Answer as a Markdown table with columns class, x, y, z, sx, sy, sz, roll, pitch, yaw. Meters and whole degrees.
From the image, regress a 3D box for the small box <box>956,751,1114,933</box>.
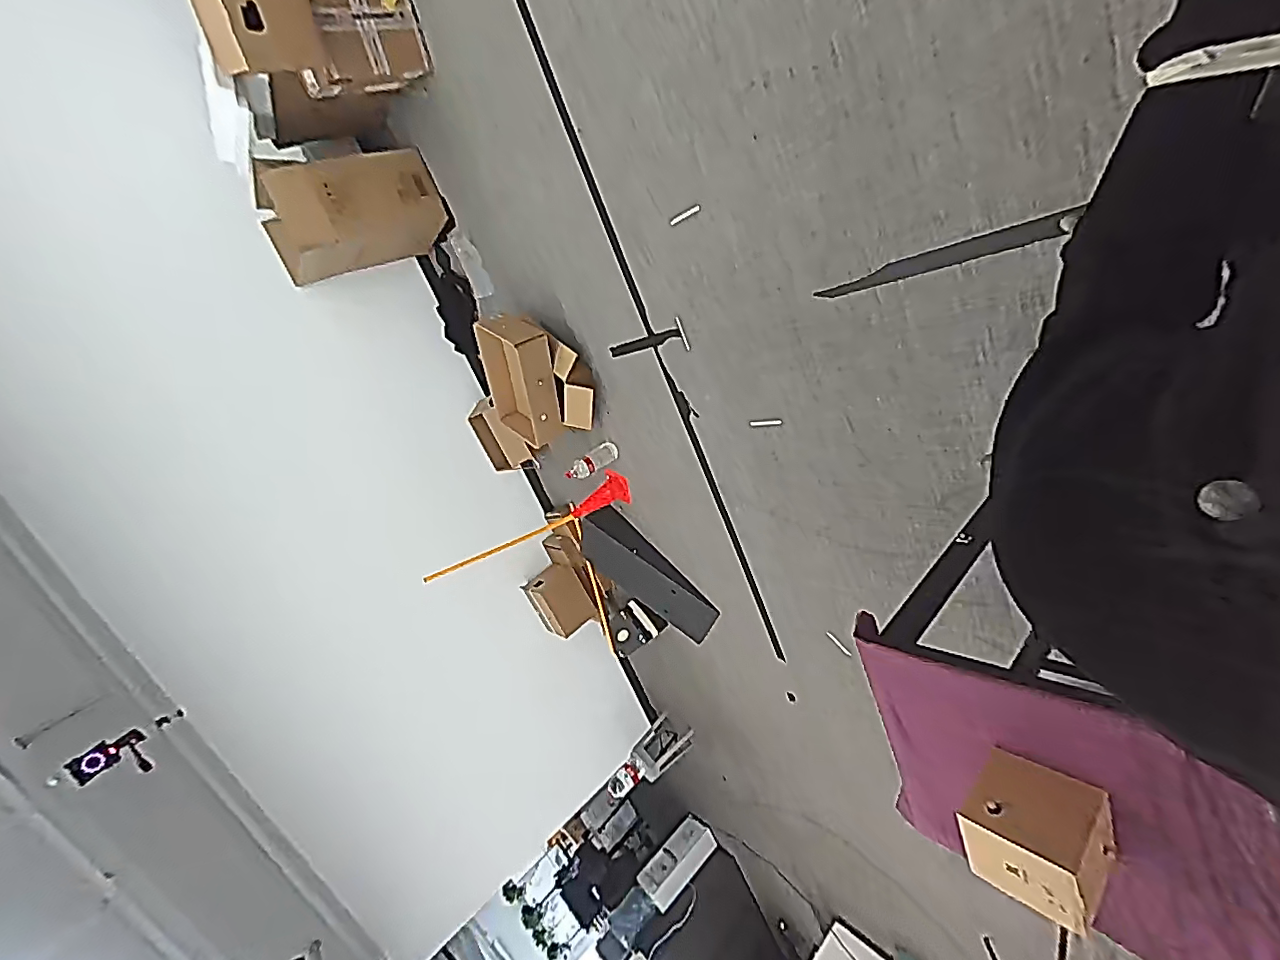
| class | x | y | z | sx | sy | sz | roll | pitch | yaw |
| --- | --- | --- | --- | --- | --- | --- | --- | --- | --- |
| small box | 0.696 | 0.618 | 0.952 | 0.179 | 0.176 | 0.168 | 5 | 124 | 53 |
